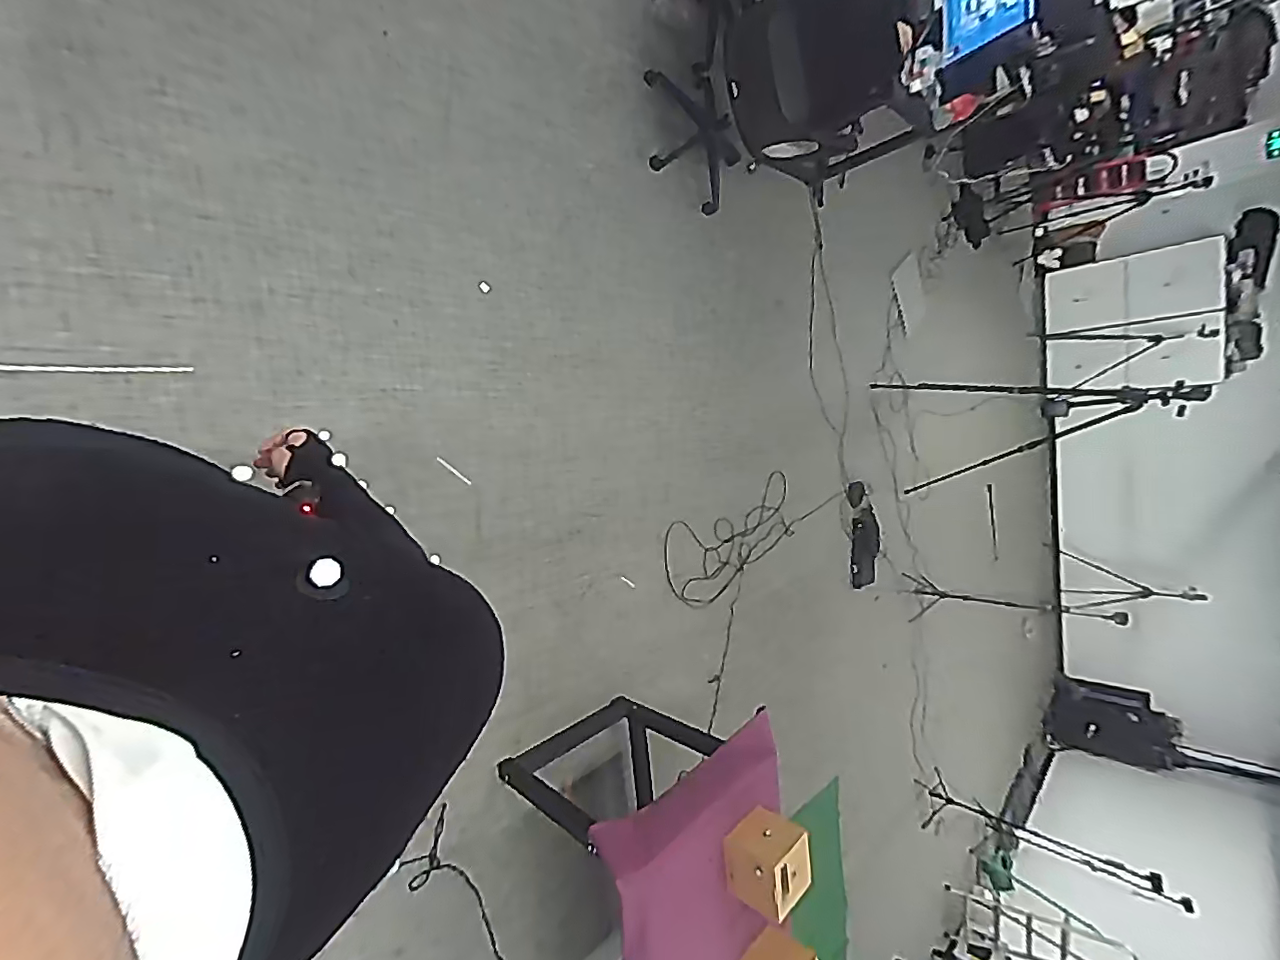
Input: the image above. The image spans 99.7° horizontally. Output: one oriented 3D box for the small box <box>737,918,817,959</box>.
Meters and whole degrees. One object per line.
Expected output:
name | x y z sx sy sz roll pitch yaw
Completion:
small box | 0.406 1.460 1.595 0.179 0.176 0.168 -11 97 -43
